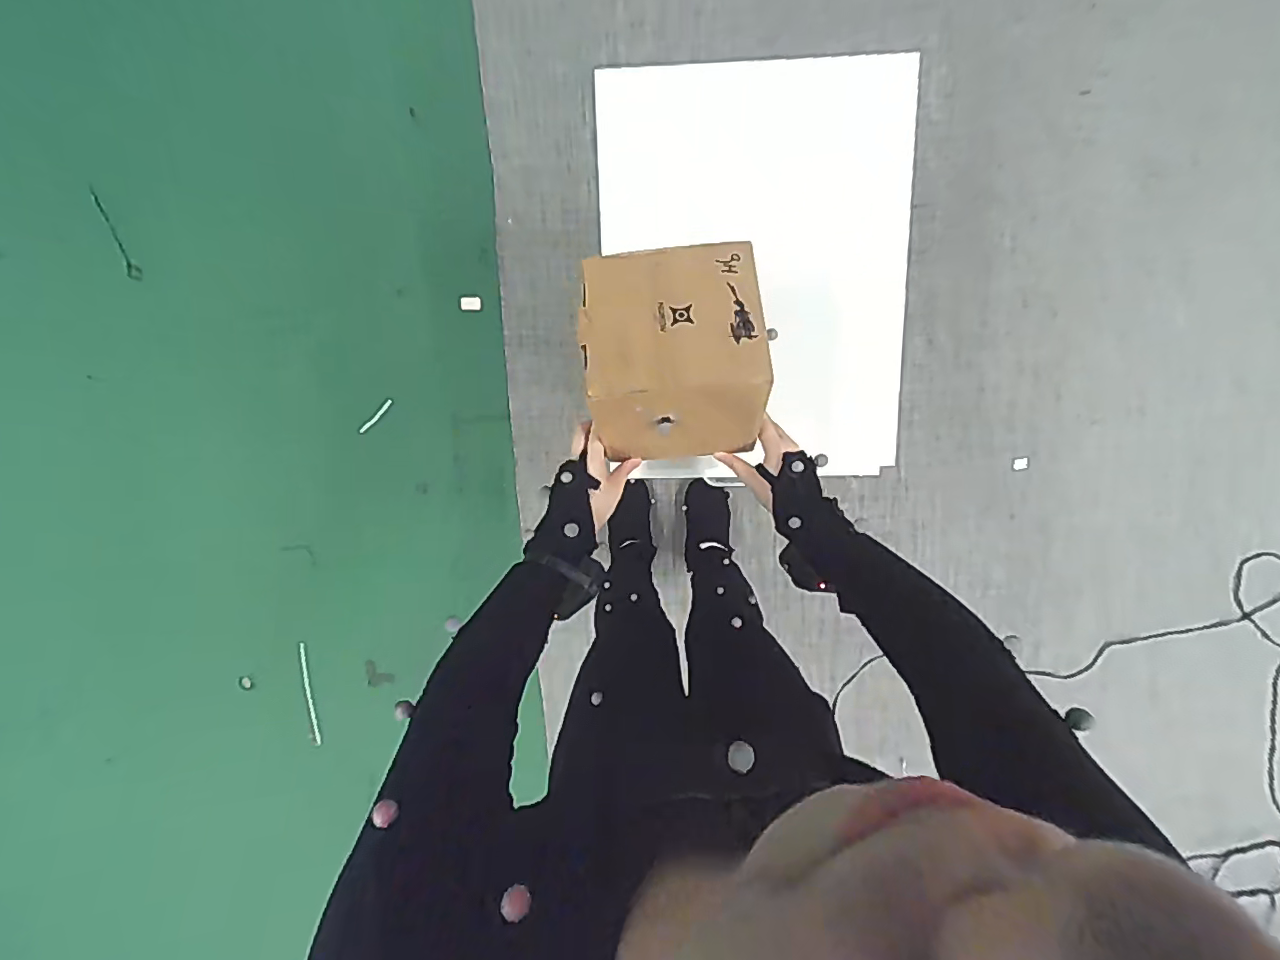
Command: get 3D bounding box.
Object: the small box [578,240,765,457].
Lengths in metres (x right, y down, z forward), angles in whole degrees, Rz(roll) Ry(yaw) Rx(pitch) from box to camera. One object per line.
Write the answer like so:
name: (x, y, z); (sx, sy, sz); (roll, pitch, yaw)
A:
small box: (0.034, -0.133, 0.602); (0.179, 0.176, 0.168); (-5, 70, 4)
